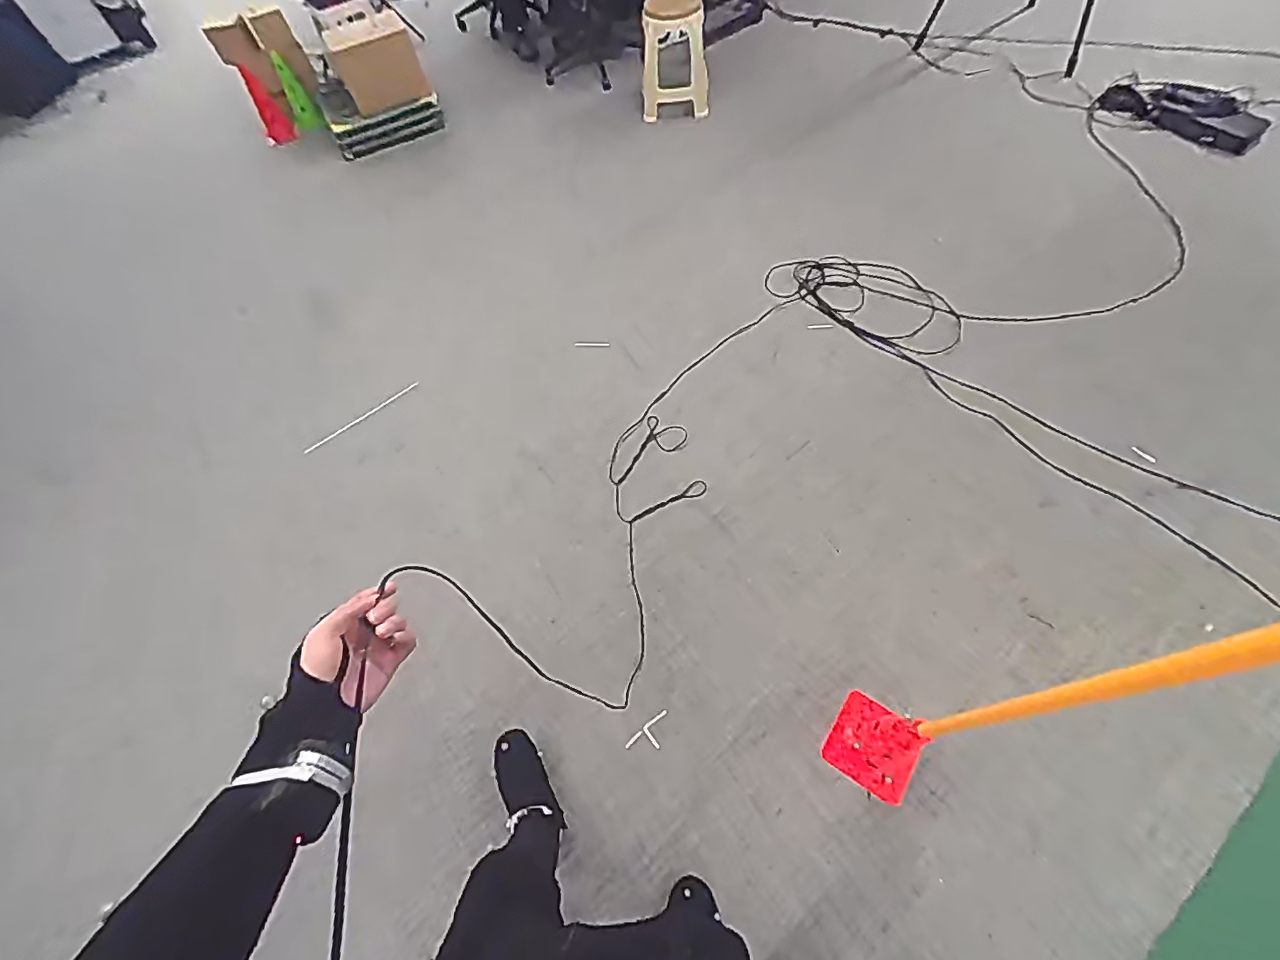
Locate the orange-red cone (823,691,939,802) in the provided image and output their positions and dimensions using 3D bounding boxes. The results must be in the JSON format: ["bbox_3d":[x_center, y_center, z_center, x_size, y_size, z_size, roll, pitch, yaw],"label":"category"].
[{"bbox_3d":[0.568,0.569,1.195,0.198,0.360,0.199,31,66,20],"label":"orange-red cone"}]
